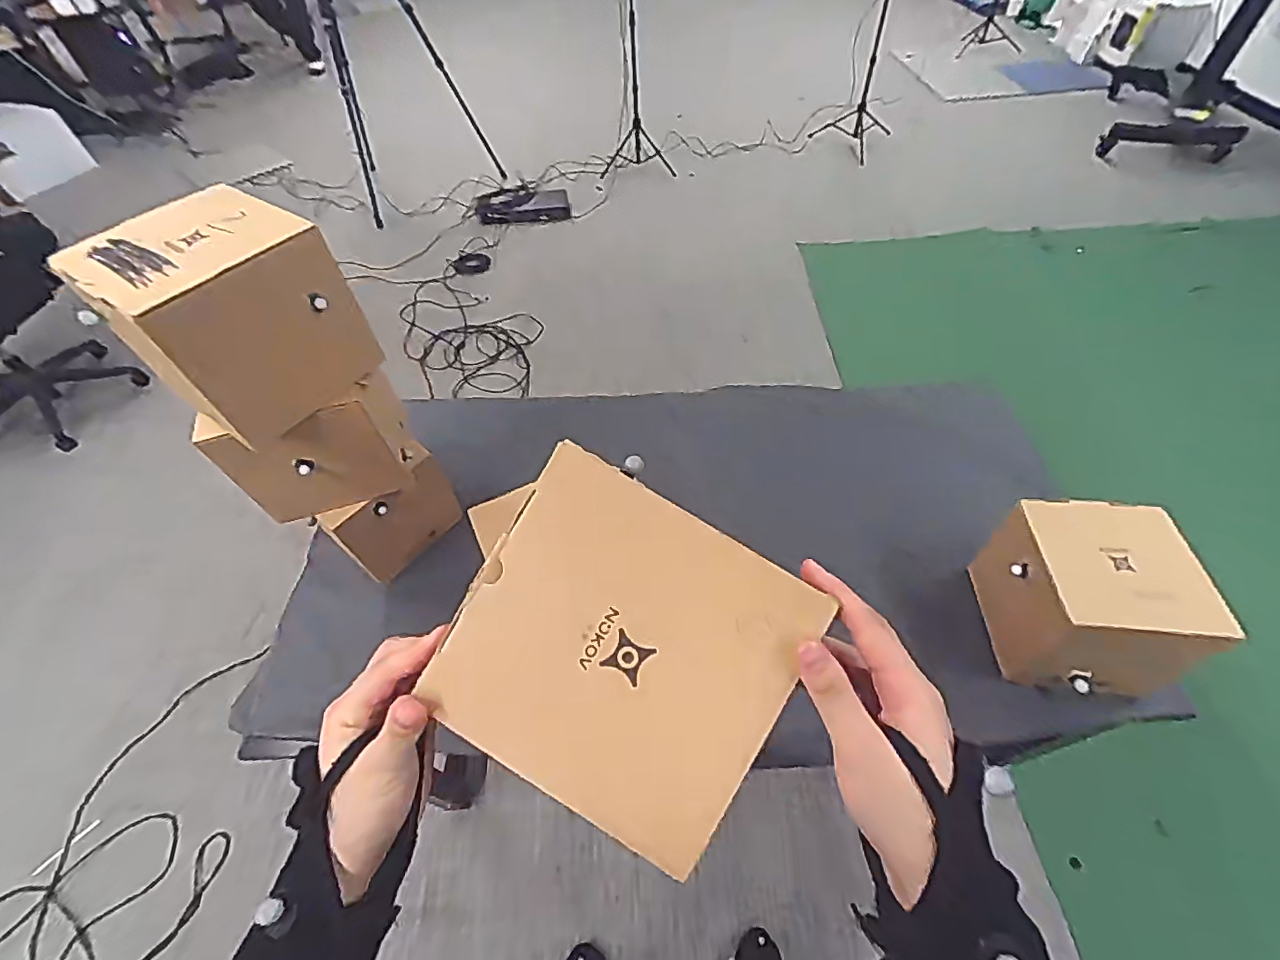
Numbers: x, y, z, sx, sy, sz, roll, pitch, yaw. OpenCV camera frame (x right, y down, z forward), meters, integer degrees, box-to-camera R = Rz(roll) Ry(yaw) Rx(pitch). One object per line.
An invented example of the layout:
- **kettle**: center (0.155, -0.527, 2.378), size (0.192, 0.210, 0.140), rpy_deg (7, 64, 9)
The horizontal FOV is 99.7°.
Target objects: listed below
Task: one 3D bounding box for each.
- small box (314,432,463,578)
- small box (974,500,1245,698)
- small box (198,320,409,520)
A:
- **small box**: center (-0.409, 0.021, 0.838), size (0.179, 0.176, 0.168), rpy_deg (32, 61, 24)
- **small box**: center (0.549, 0.147, 0.671), size (0.168, 0.176, 0.179), rpy_deg (3, 50, 8)
- **small box**: center (-0.417, -0.074, 0.704), size (0.179, 0.176, 0.168), rpy_deg (-18, 55, -9)
